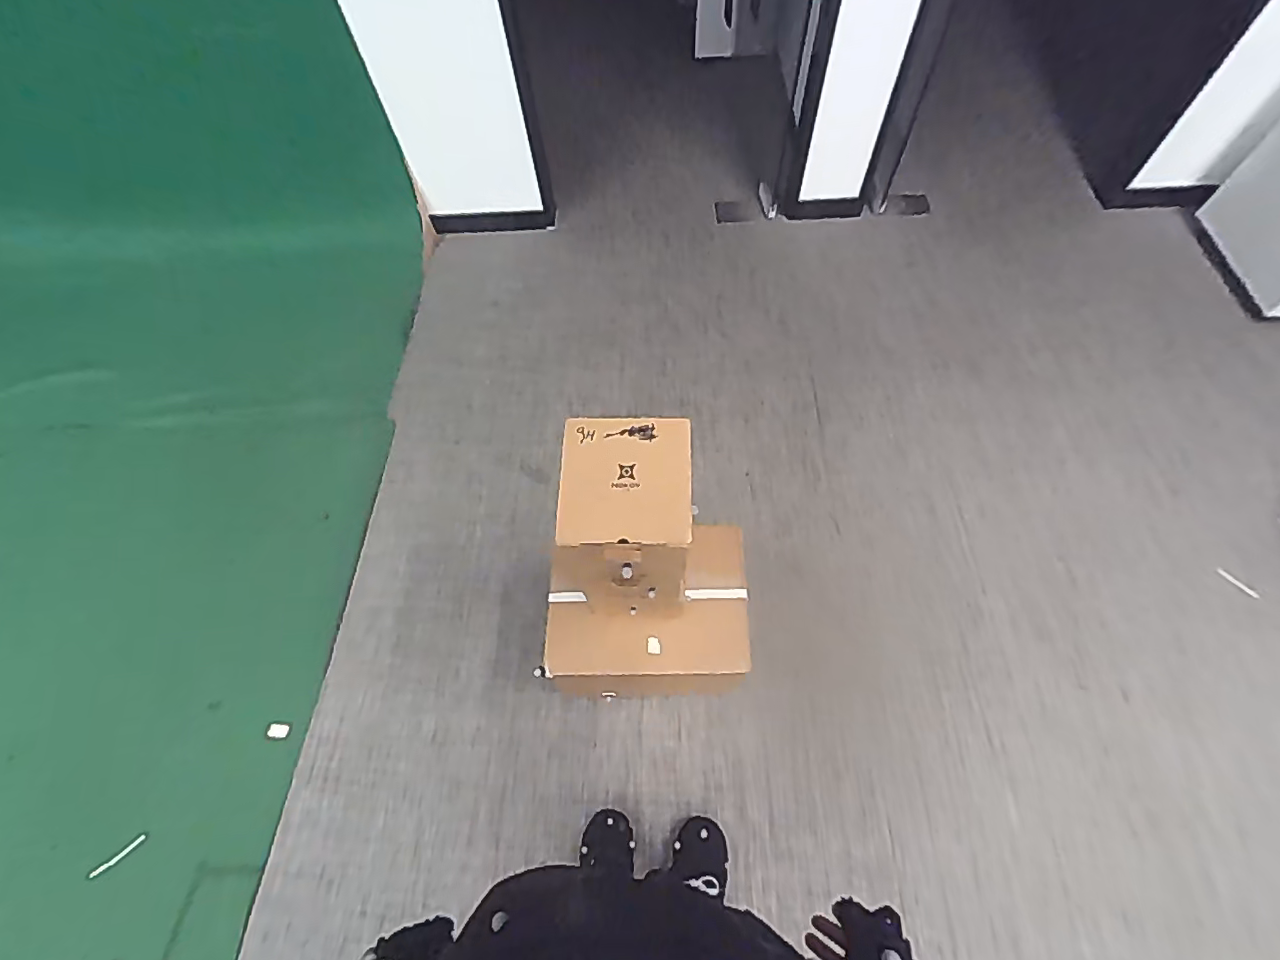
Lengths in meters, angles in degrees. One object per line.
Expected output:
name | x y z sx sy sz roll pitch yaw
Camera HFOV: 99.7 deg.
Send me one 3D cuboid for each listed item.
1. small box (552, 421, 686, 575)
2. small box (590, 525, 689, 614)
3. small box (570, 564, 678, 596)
small box | -0.020 0.033 0.755 0.168 0.176 0.179 0 67 3
small box | 0.000 0.165 1.051 0.179 0.176 0.168 -2 67 2
small box | -0.017 0.094 0.906 0.168 0.176 0.179 1 66 3
